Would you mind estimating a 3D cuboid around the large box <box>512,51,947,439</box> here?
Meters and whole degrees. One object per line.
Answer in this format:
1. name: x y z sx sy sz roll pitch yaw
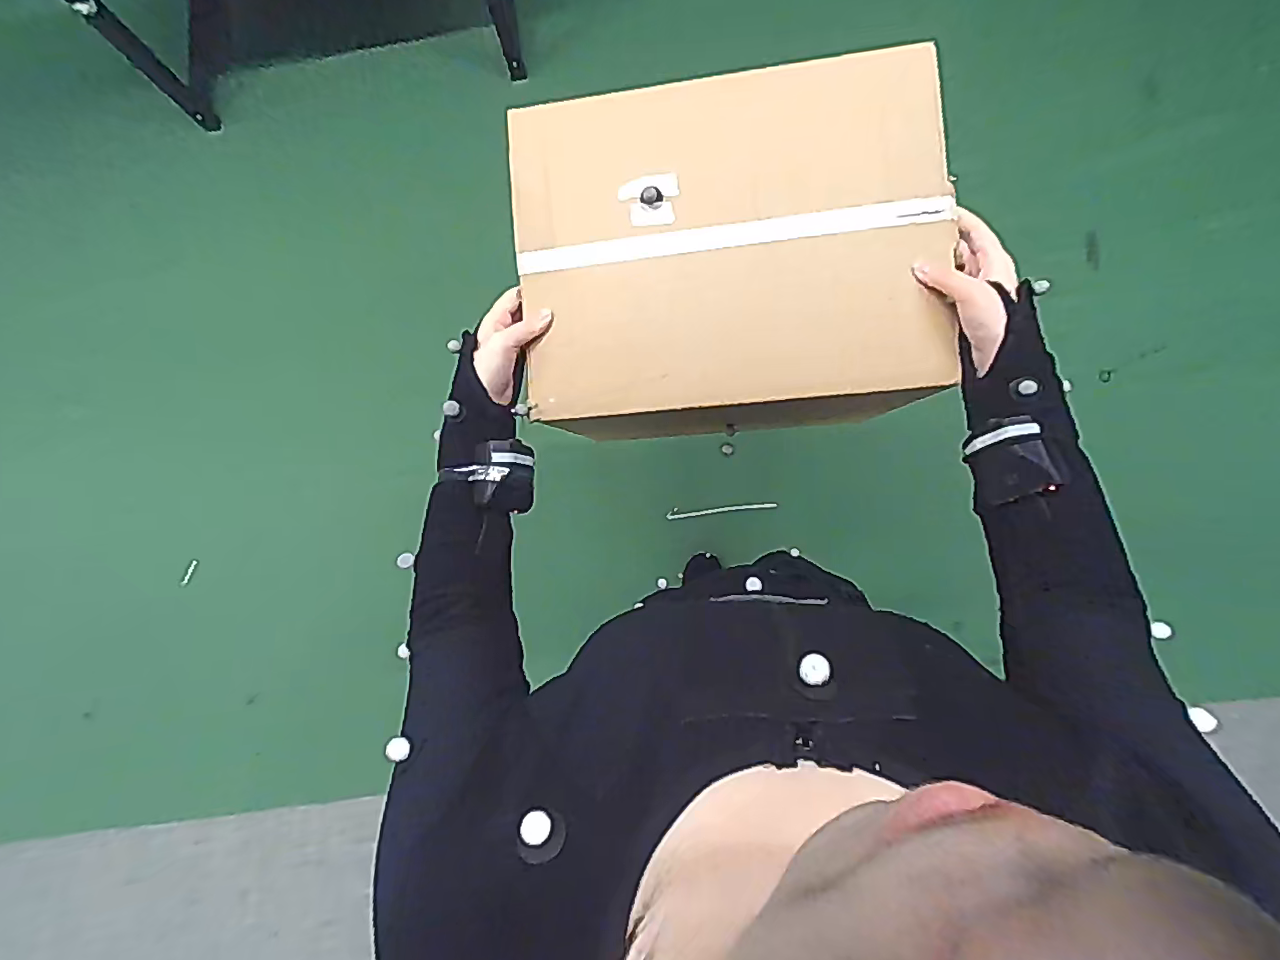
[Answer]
1. large box: 0.099 -0.230 0.674 0.408 0.320 0.320 -5 89 9
